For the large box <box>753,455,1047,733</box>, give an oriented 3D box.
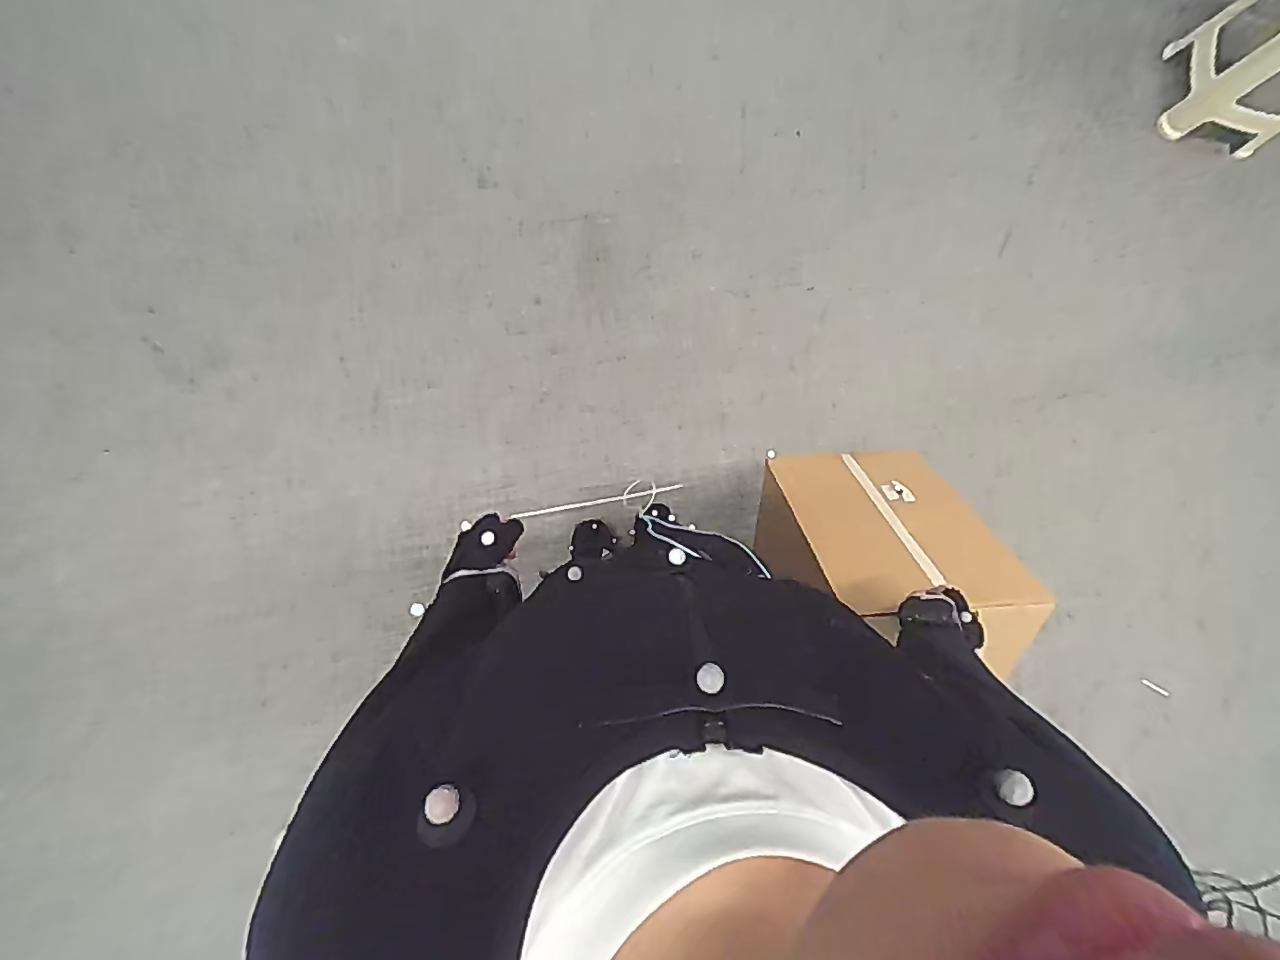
[{"bbox_3d":[0.425,0.195,1.015,0.320,0.408,0.320,-3,125,-4],"label":"large box"}]
